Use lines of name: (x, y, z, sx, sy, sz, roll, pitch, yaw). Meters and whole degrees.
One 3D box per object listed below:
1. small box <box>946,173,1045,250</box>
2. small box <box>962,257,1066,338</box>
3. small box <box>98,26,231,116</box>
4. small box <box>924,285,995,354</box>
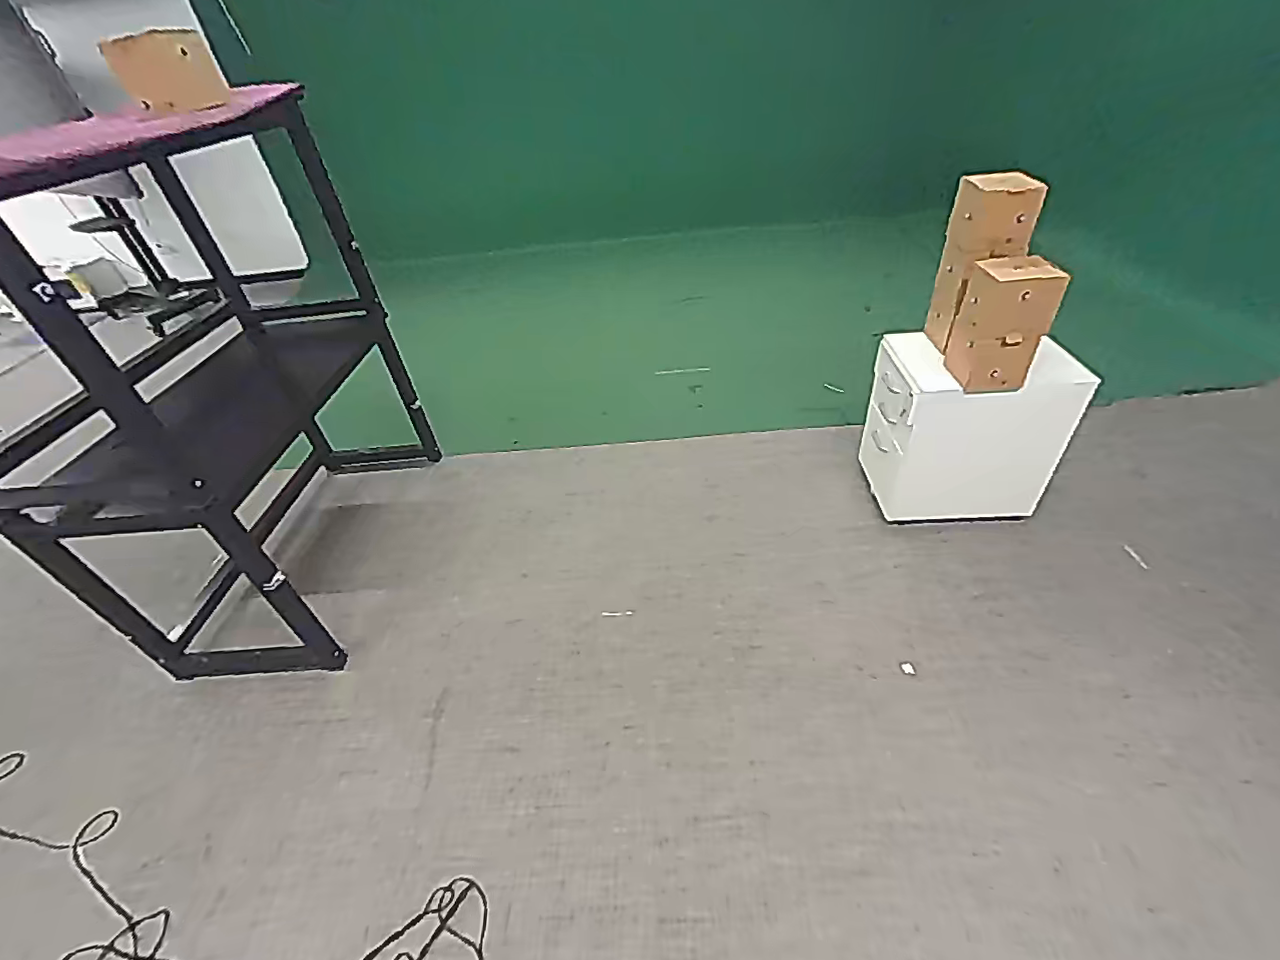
small box: (1.035, -0.785, 1.591, 0.168, 0.176, 0.179, -1, 40, 4)
small box: (1.034, -0.510, 1.519, 0.179, 0.176, 0.168, -1, 41, 5)
small box: (-1.262, -1.098, 1.455, 0.168, 0.176, 0.179, -5, 40, 6)
small box: (1.075, -0.536, 1.800, 0.168, 0.176, 0.179, -3, 42, 5)
